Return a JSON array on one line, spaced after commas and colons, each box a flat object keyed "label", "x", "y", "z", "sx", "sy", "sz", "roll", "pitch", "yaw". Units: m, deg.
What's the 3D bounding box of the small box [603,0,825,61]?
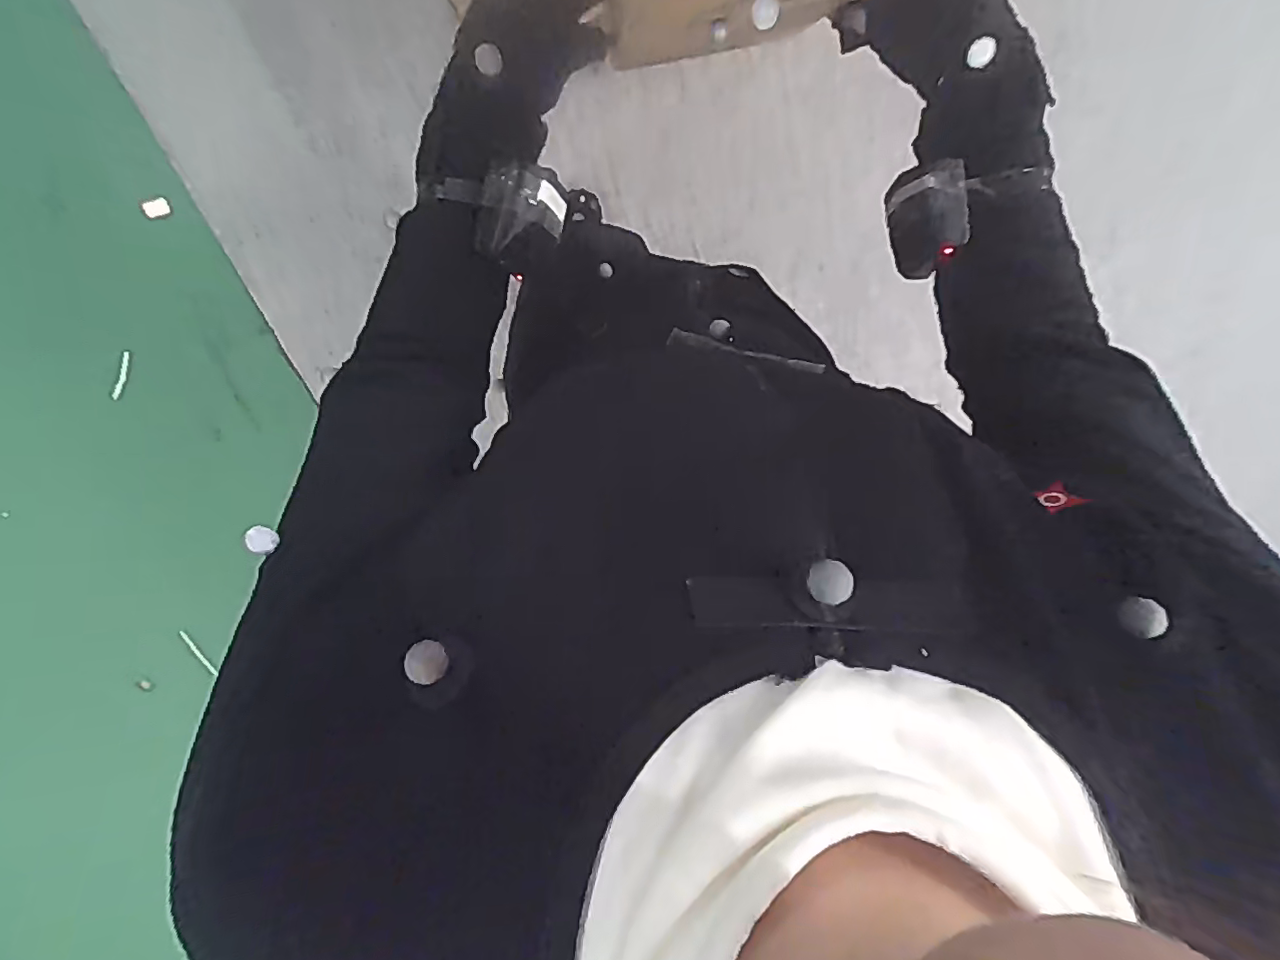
[{"label": "small box", "x": 0.048, "y": -0.422, "z": 0.370, "sx": 0.168, "sy": 0.176, "sz": 0.179, "roll": -10, "pitch": 119, "yaw": 0}]

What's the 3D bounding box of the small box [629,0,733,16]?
[{"label": "small box", "x": 0.060, "y": -0.339, "z": 0.228, "sx": 0.168, "sy": 0.176, "sz": 0.179, "roll": -10, "pitch": 120, "yaw": 0}]
